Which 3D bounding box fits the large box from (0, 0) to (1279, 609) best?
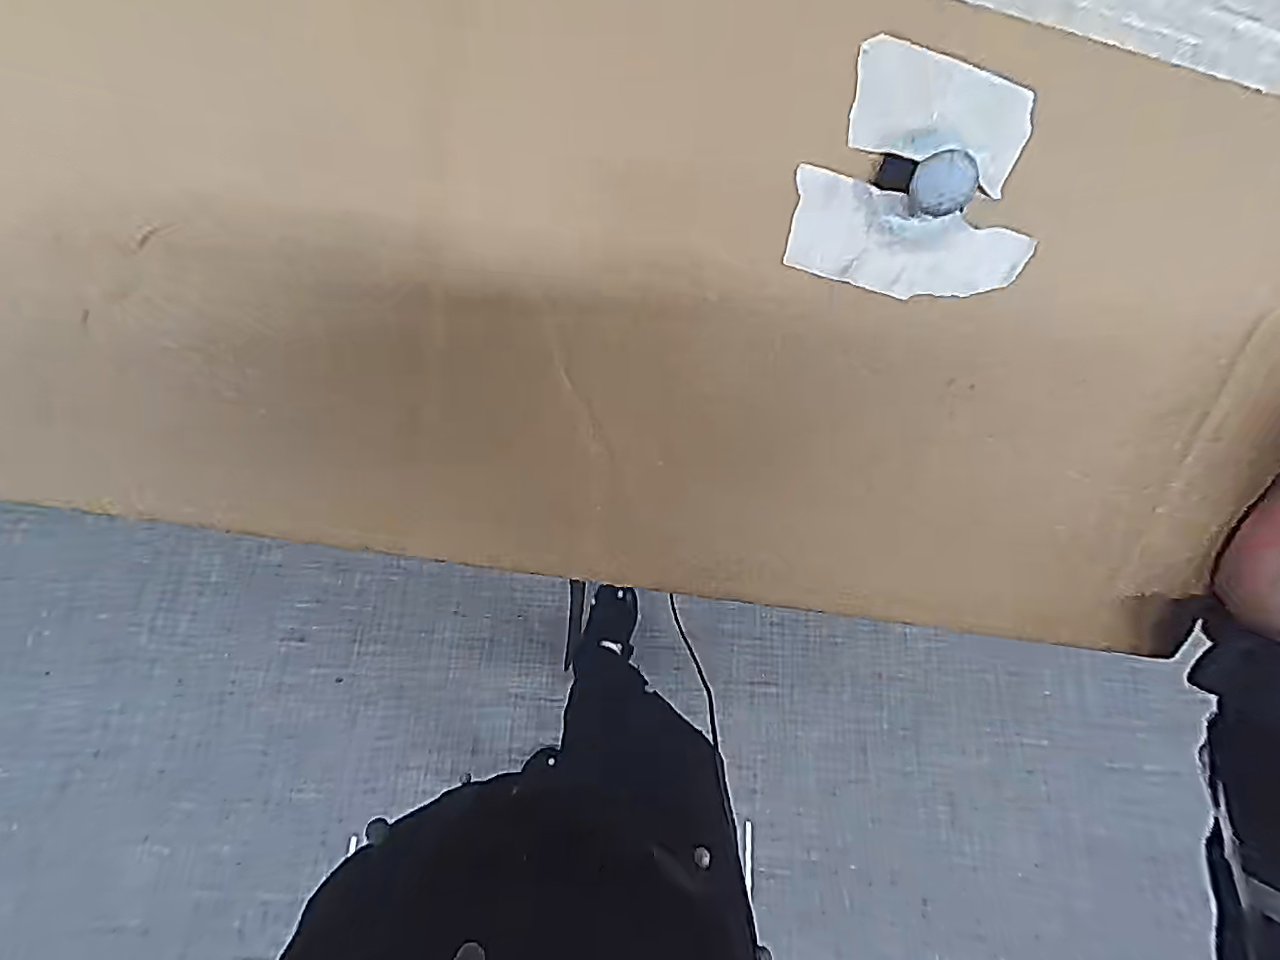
[{"bbox_3d":[-0.006,-0.169,0.258,0.408,0.320,0.320,9,108,-9],"label":"large box"}]
